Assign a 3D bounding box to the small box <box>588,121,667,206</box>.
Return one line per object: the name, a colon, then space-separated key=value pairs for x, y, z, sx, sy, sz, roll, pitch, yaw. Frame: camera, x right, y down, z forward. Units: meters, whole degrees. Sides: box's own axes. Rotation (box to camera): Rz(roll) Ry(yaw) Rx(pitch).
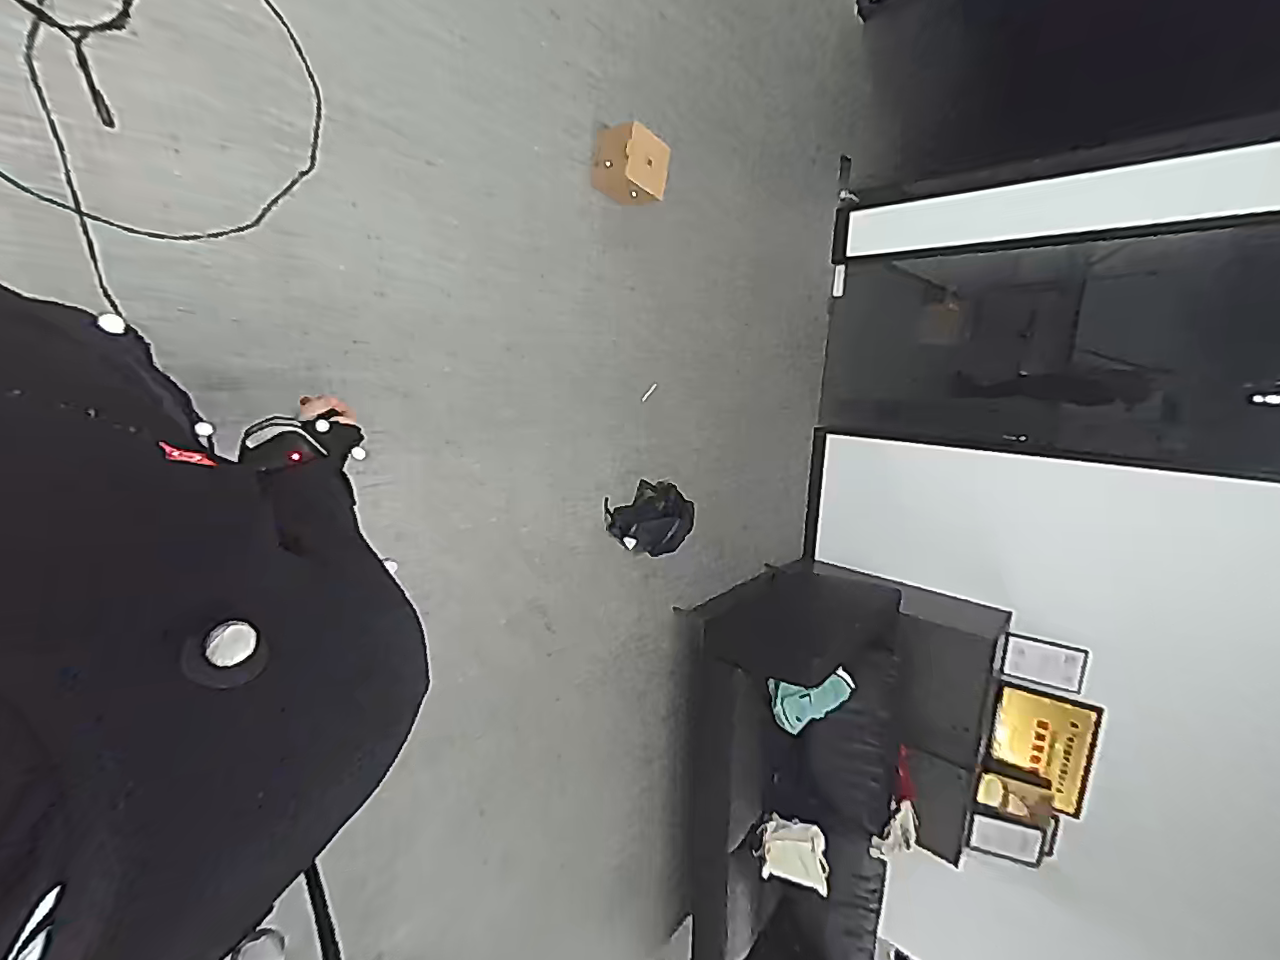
small box: x=-0.042 y=-0.990 z=1.712 sx=0.179 sy=0.176 sz=0.168 roll=3 pitch=99 yaw=-50
